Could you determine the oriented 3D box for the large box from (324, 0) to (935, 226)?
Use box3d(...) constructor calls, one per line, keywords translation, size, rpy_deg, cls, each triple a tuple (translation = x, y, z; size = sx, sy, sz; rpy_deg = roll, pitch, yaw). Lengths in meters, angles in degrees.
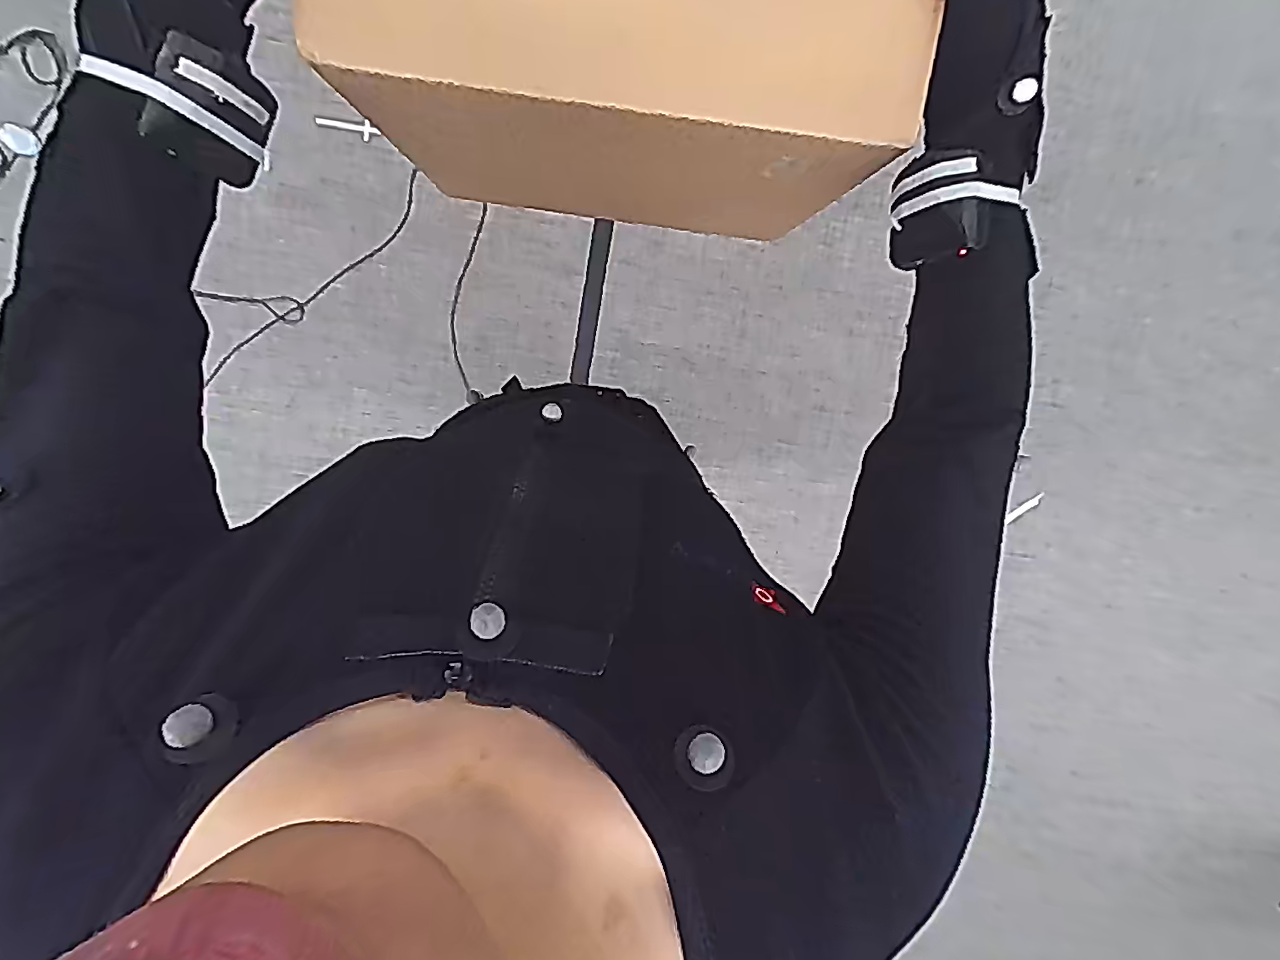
box3d(translation=(-0.003, -0.438, 0.474), size=(0.408, 0.320, 0.320), rpy_deg=(5, 104, -5), cls="large box")
